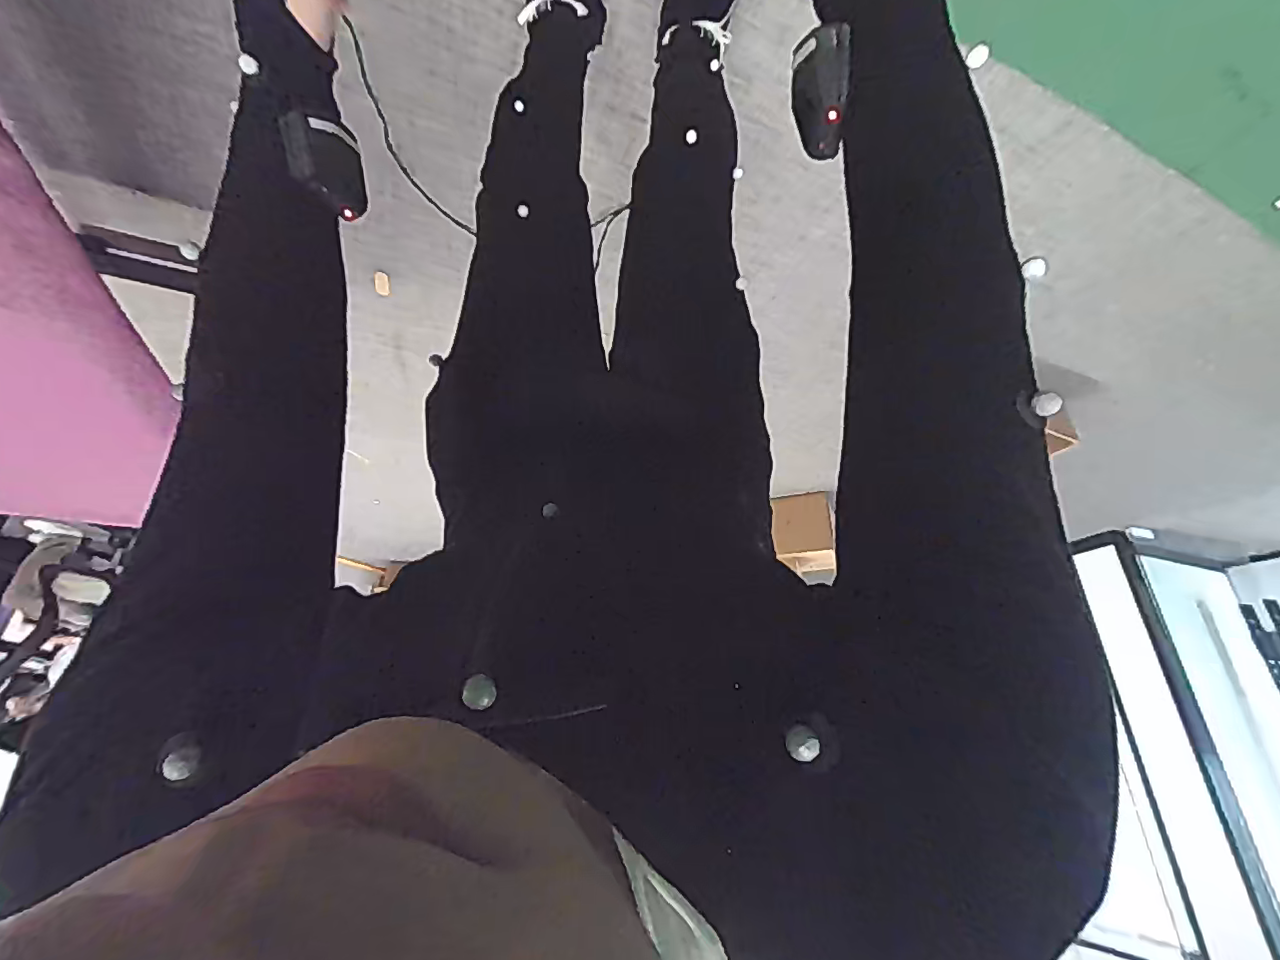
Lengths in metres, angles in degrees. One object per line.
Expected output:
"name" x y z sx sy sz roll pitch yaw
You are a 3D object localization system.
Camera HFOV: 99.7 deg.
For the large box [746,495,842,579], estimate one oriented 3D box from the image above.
"large box" 0.792 0.302 2.786 0.408 0.320 0.320 -11 152 22
